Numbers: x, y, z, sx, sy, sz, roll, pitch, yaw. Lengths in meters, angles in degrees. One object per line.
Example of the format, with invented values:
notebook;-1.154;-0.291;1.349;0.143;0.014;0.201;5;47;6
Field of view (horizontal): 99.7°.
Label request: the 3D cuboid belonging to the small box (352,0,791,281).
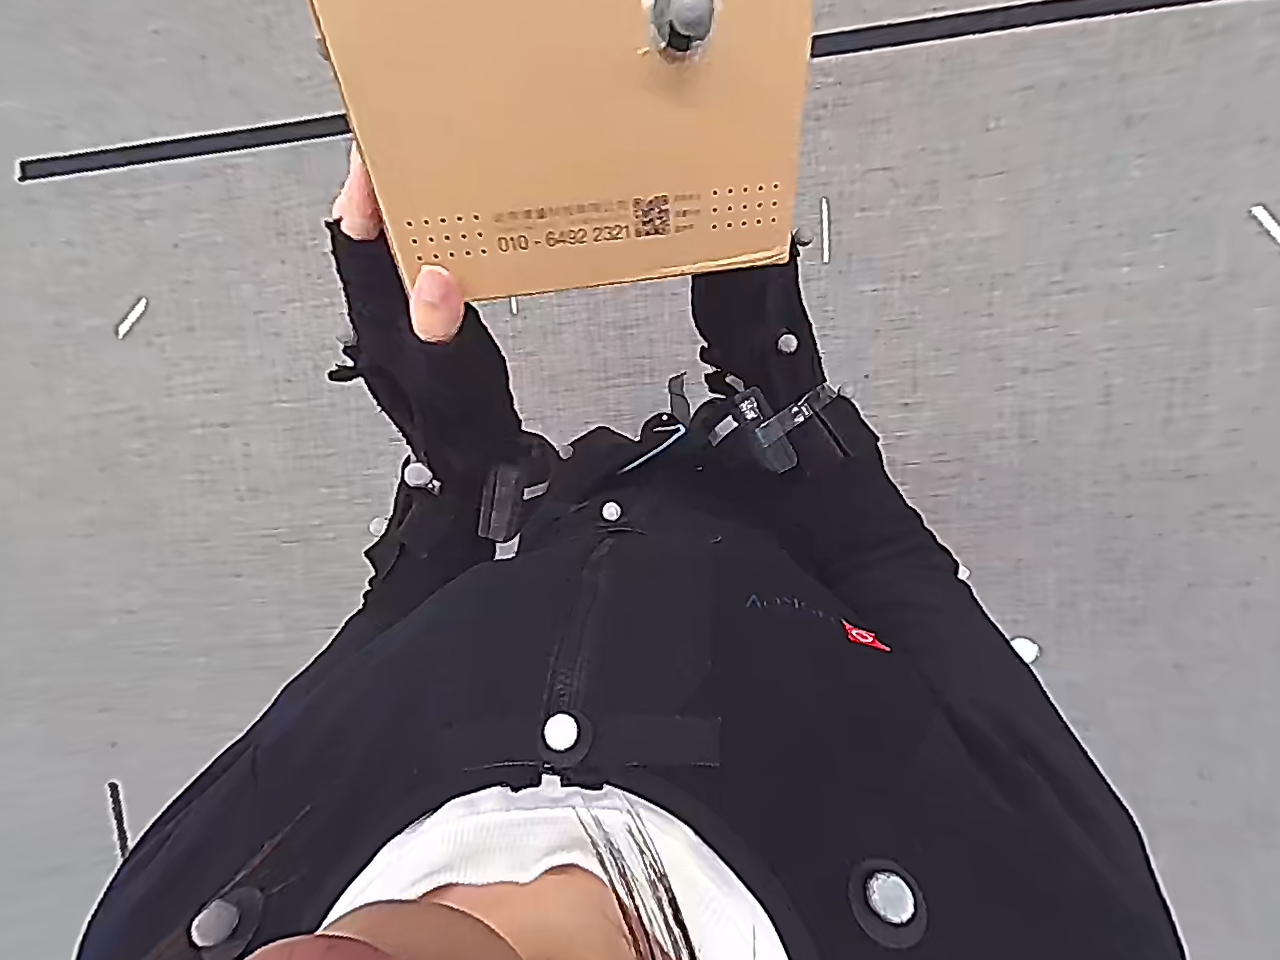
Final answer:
small box;-0.030;-0.207;0.270;0.168;0.179;0.176;-9;128;-5
